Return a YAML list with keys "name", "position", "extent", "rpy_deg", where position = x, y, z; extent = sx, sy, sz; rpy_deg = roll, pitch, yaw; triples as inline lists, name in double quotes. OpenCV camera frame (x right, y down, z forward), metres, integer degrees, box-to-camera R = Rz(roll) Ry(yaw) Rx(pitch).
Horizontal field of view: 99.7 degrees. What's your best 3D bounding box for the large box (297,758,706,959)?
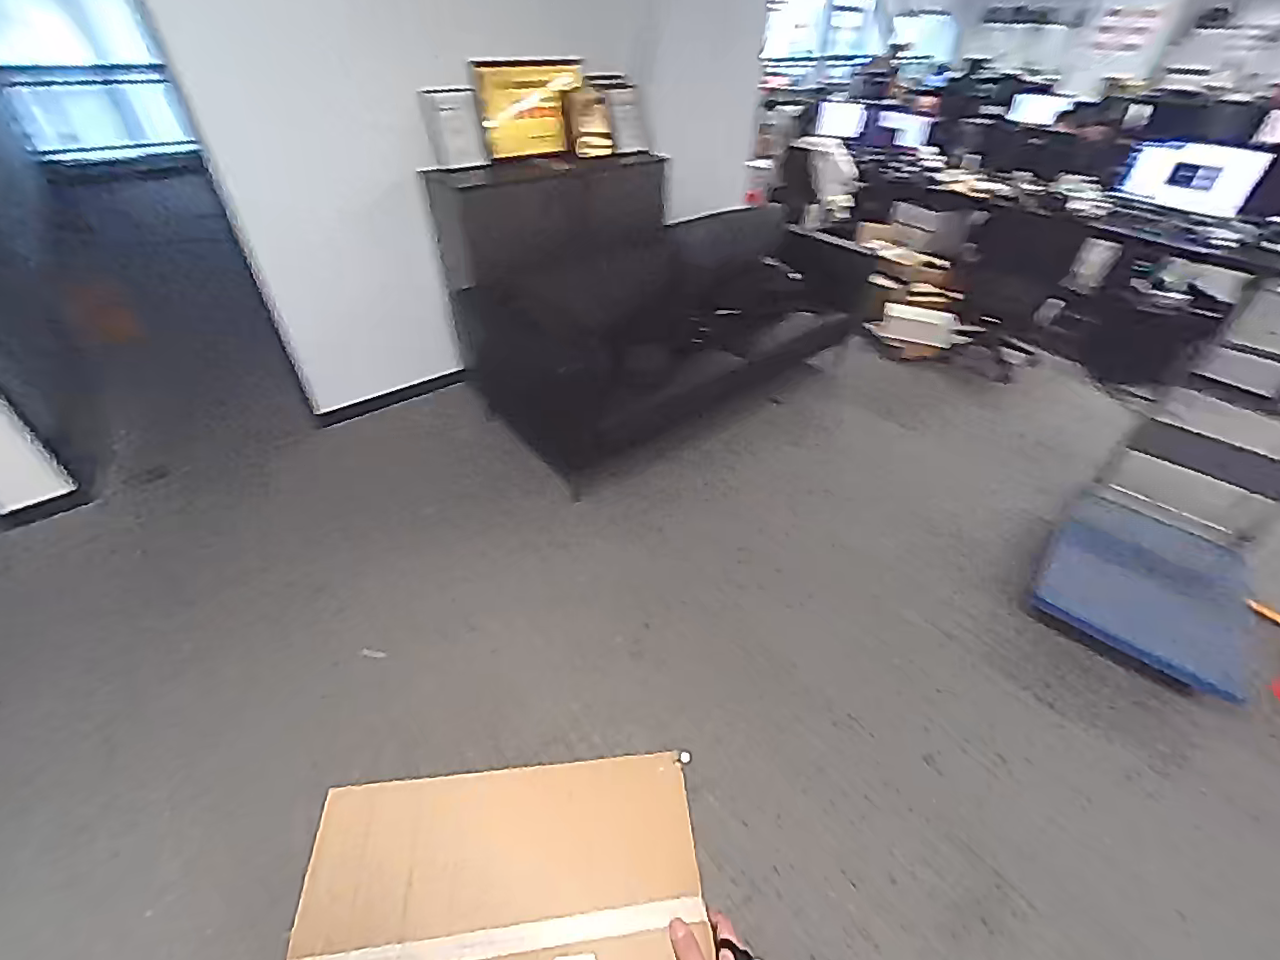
- name: "large box"
  position: [-0.149, 0.574, 0.643]
  extent: [0.408, 0.320, 0.320]
  rpy_deg: [-2, 45, -10]
